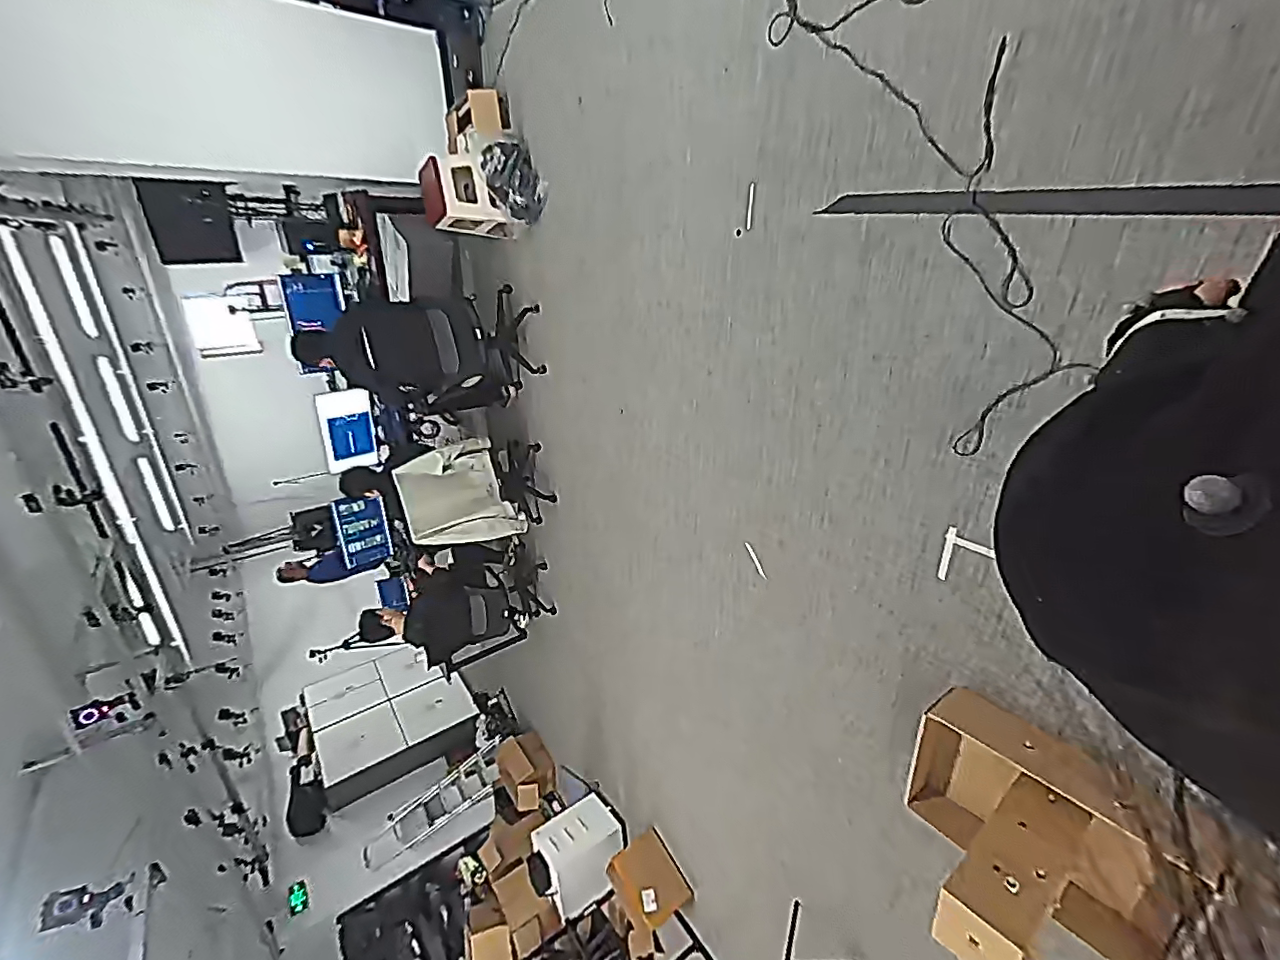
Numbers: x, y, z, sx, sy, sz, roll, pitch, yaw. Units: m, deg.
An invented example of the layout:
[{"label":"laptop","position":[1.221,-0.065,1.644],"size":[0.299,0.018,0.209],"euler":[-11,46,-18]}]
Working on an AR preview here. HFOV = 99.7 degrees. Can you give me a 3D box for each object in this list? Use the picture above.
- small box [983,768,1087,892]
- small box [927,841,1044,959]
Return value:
[{"label":"small box","position":[1.041,0.912,1.425],"size":[0.168,0.176,0.179],"euler":[22,122,49]},{"label":"small box","position":[0.787,0.987,1.233],"size":[0.168,0.176,0.179],"euler":[21,121,49]}]
